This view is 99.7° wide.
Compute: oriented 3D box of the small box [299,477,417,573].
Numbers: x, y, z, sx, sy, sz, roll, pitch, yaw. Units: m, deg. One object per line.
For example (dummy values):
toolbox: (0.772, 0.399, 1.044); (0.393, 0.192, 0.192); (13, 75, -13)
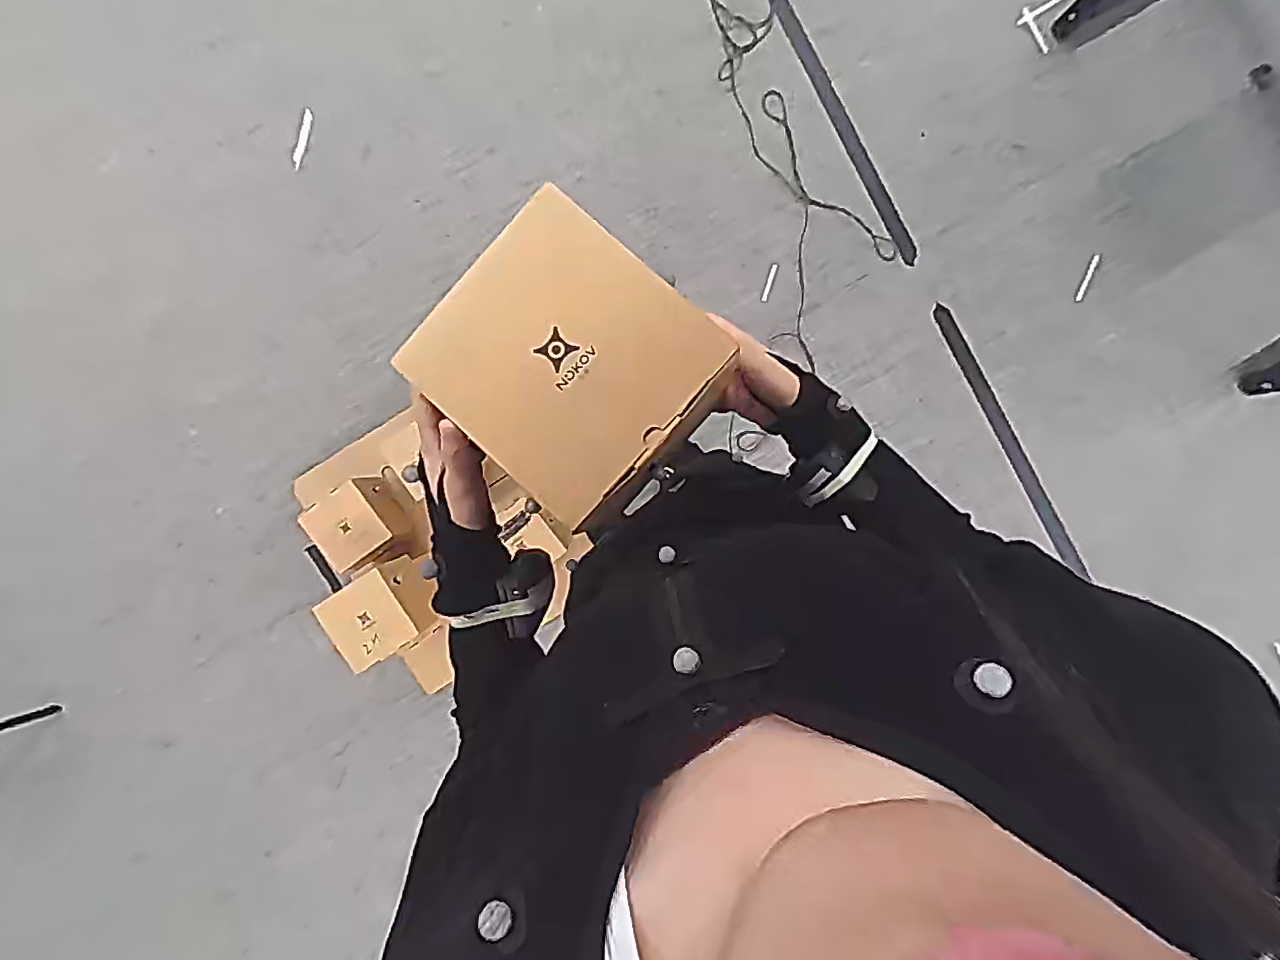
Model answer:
small box: (-0.712, 0.109, 1.386); (0.168, 0.176, 0.179); (-37, 93, 0)

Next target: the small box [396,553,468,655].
small box: (-0.572, 0.310, 1.394); (0.168, 0.176, 0.179); (-36, 94, -1)

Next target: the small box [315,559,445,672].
small box: (-0.579, 0.295, 1.227); (0.168, 0.176, 0.179); (-33, 93, 0)

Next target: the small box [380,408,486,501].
small box: (-0.516, -0.066, 1.385); (0.179, 0.176, 0.168); (-36, 93, -1)

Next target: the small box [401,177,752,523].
small box: (-0.039, -0.082, 0.431); (0.179, 0.176, 0.168); (42, 91, 4)
